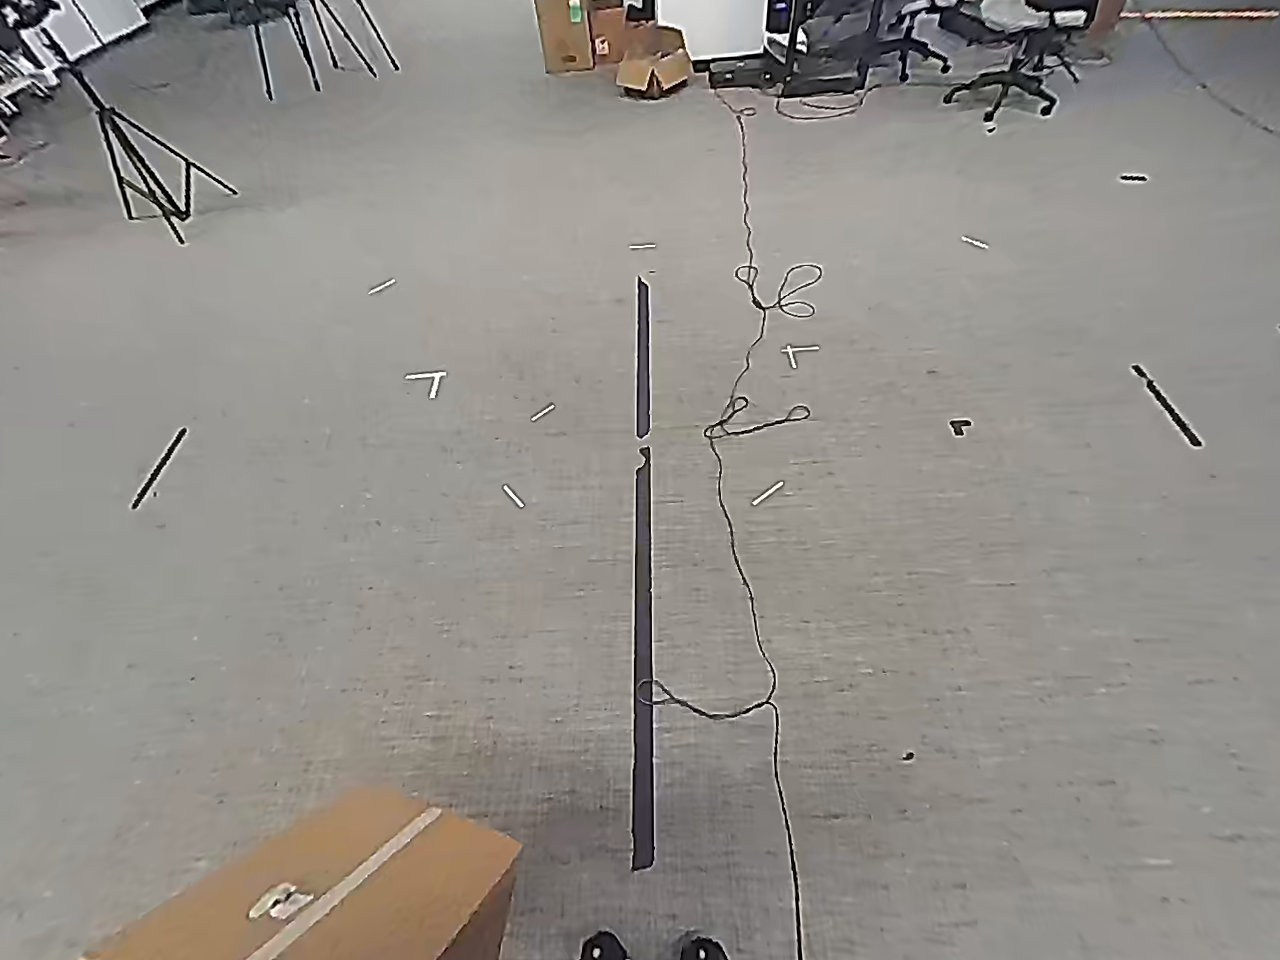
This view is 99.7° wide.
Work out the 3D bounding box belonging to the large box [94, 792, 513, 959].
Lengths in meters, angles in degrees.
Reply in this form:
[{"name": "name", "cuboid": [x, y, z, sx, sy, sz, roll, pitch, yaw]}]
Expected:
[{"name": "large box", "cuboid": [-0.419, 0.697, 0.702, 0.320, 0.408, 0.320, 11, 86, 14]}]
